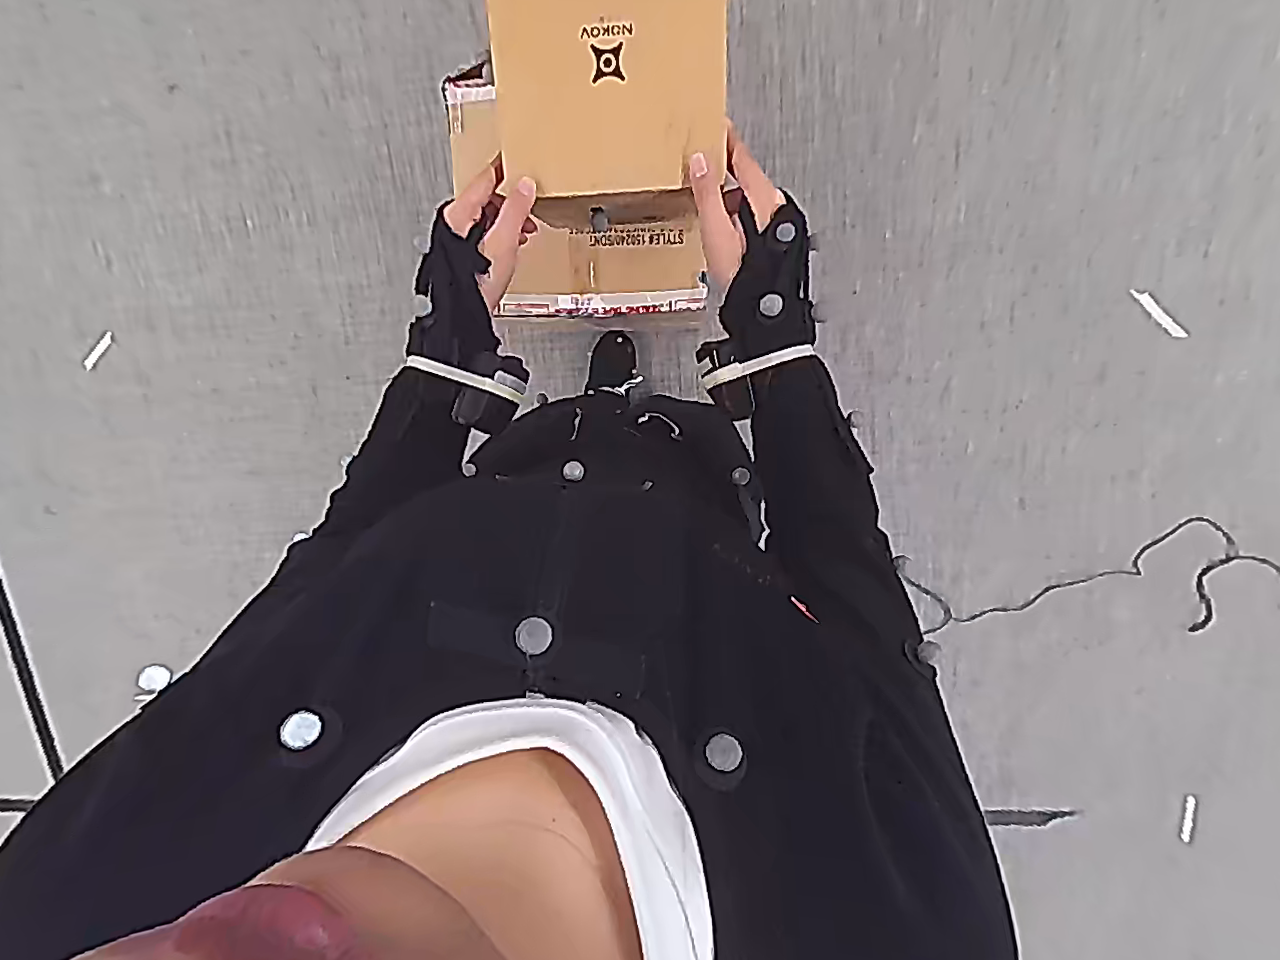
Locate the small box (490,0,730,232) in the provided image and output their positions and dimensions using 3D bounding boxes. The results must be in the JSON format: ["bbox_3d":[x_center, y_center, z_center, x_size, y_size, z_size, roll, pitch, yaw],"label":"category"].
[{"bbox_3d":[-0.013,-0.312,0.452,0.168,0.176,0.179,-2,107,4],"label":"small box"}]
